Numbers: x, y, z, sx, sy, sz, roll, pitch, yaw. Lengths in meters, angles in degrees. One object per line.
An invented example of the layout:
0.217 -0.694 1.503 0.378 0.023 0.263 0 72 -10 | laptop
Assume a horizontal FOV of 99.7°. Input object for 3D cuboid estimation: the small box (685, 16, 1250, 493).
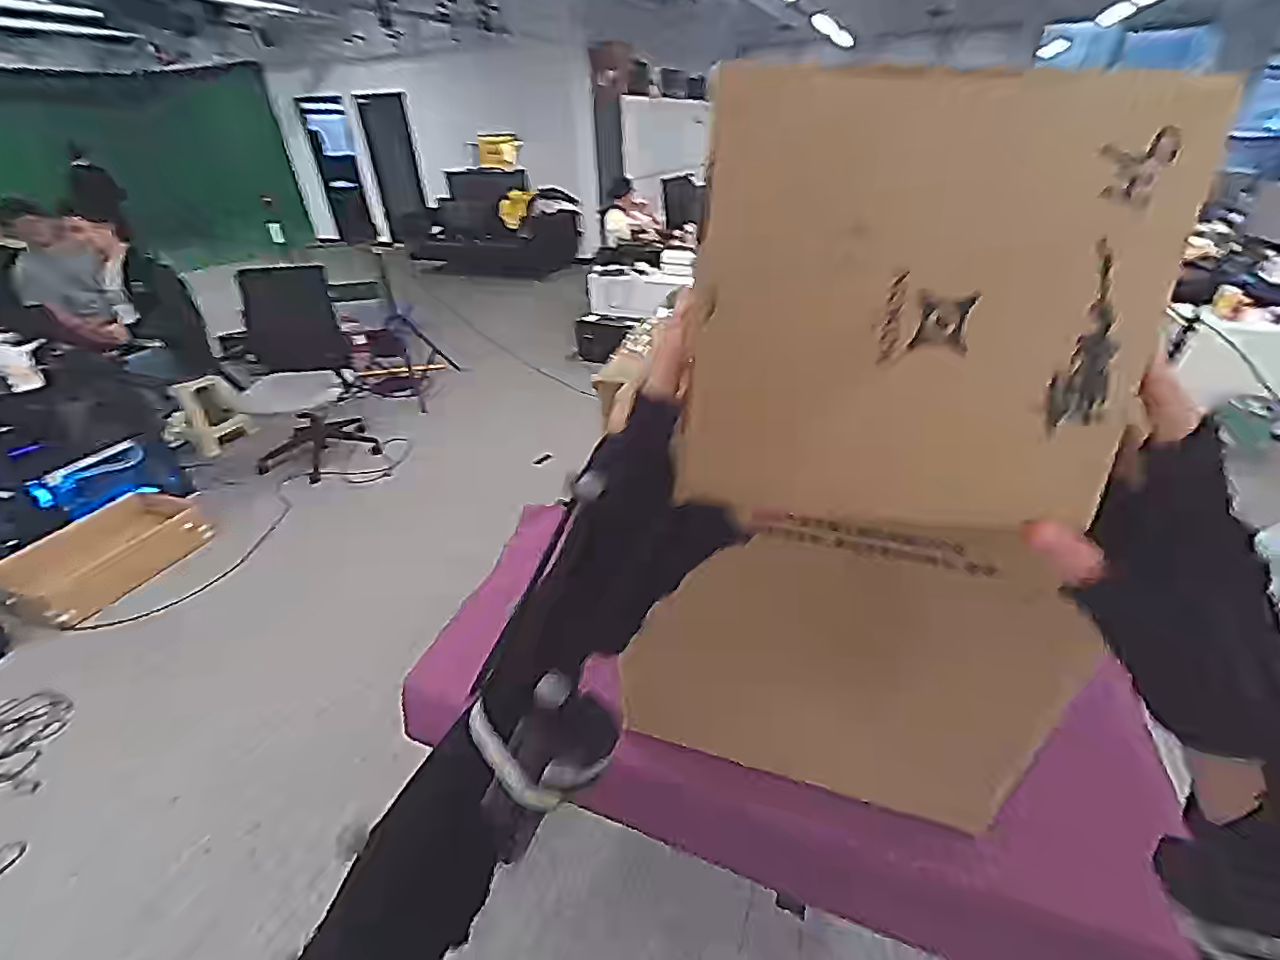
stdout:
0.122 -0.103 0.287 0.179 0.168 0.176 6 17 5 | small box
